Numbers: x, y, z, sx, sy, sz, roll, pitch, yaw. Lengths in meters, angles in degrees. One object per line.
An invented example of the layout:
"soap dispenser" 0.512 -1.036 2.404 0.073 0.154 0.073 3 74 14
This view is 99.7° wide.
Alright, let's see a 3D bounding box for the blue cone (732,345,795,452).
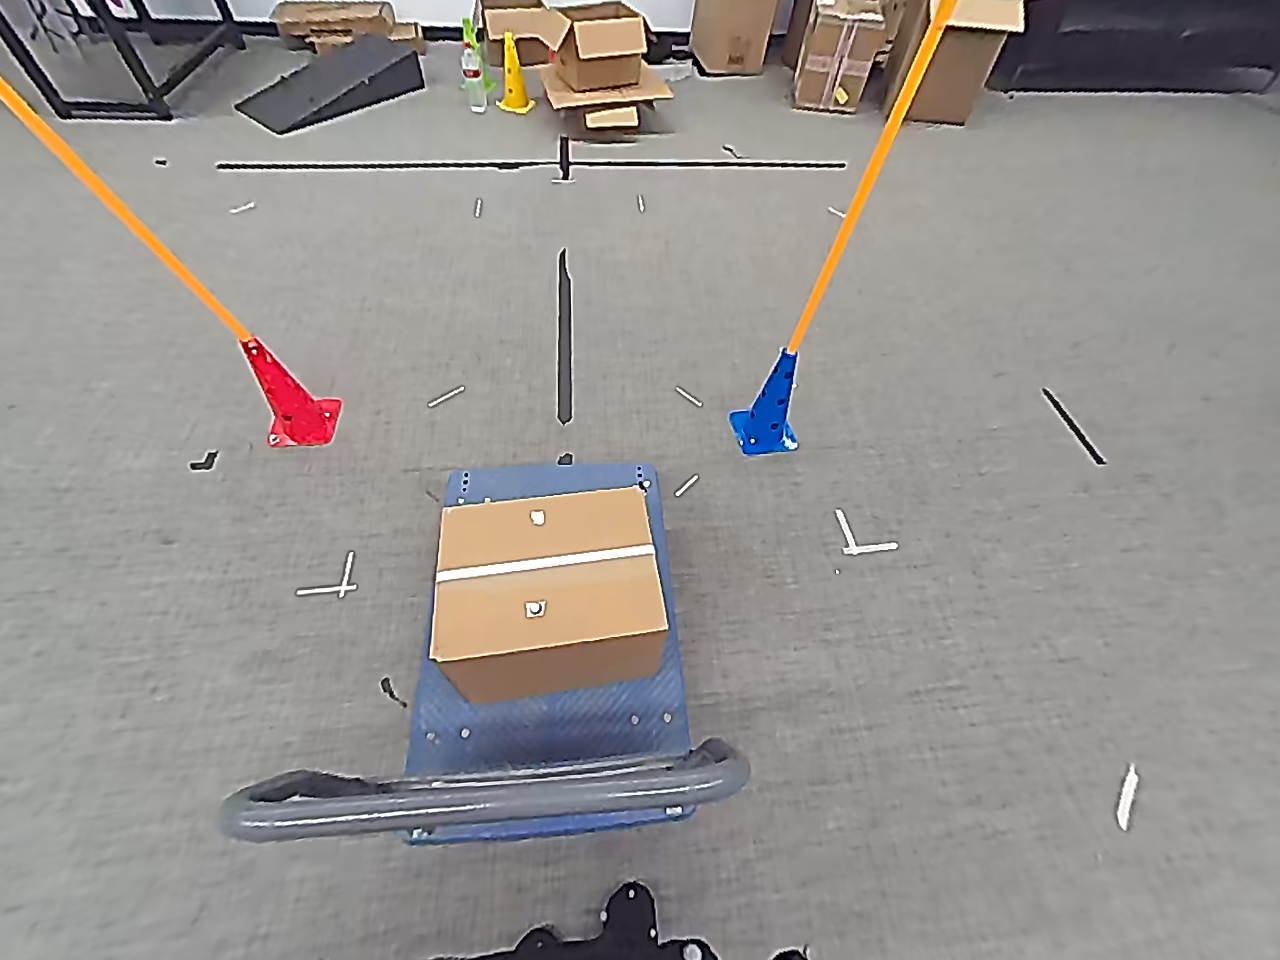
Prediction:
"blue cone" 0.437 -0.270 1.747 0.193 0.380 0.192 -6 54 -8
